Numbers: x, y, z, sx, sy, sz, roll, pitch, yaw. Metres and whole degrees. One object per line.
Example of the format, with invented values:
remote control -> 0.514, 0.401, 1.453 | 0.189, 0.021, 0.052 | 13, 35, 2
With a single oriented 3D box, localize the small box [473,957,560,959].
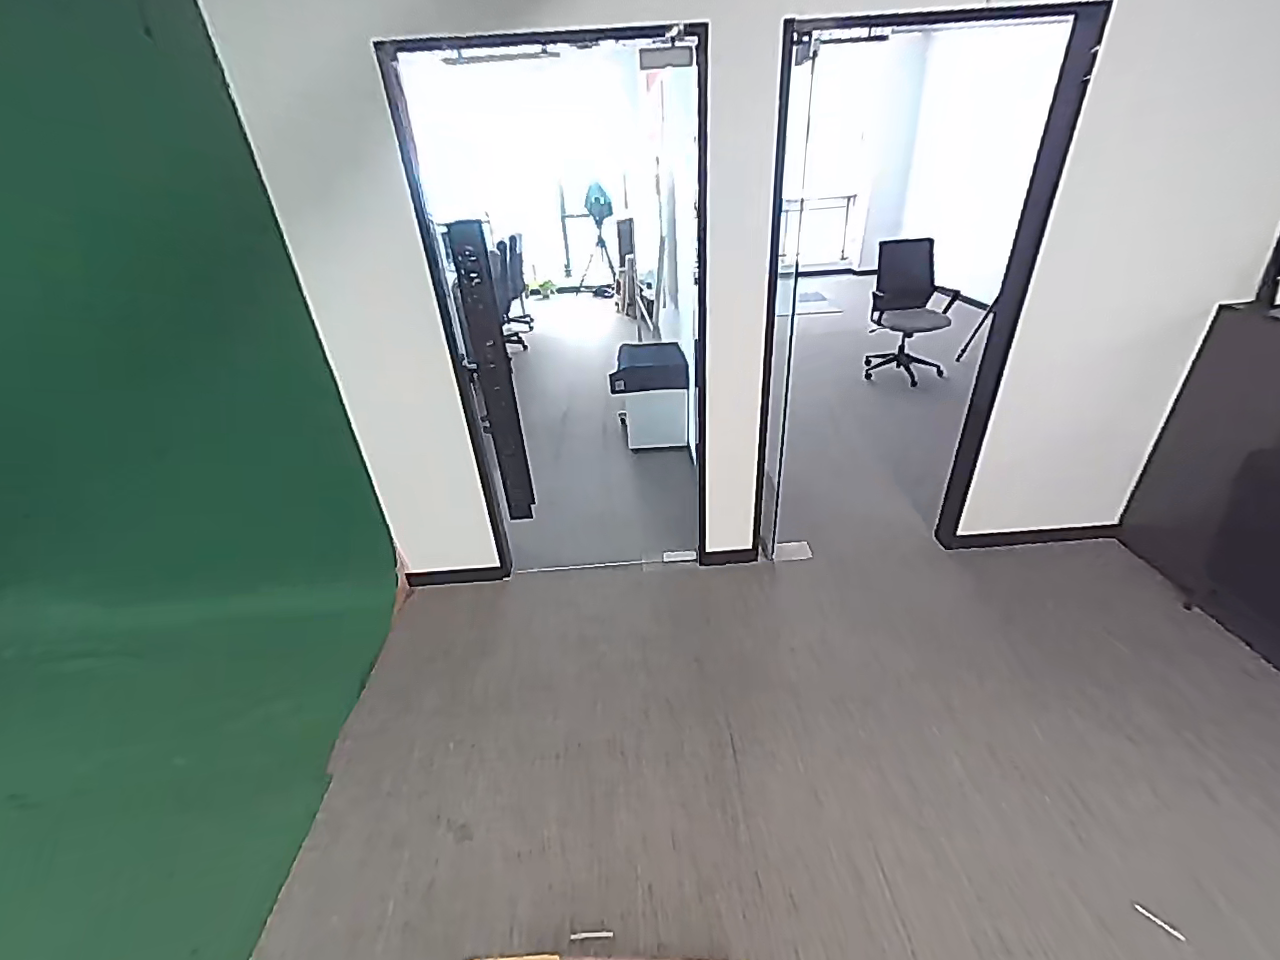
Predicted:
small box -> -0.211, 0.920, 0.876 | 0.168, 0.176, 0.179 | -3, 30, 0
